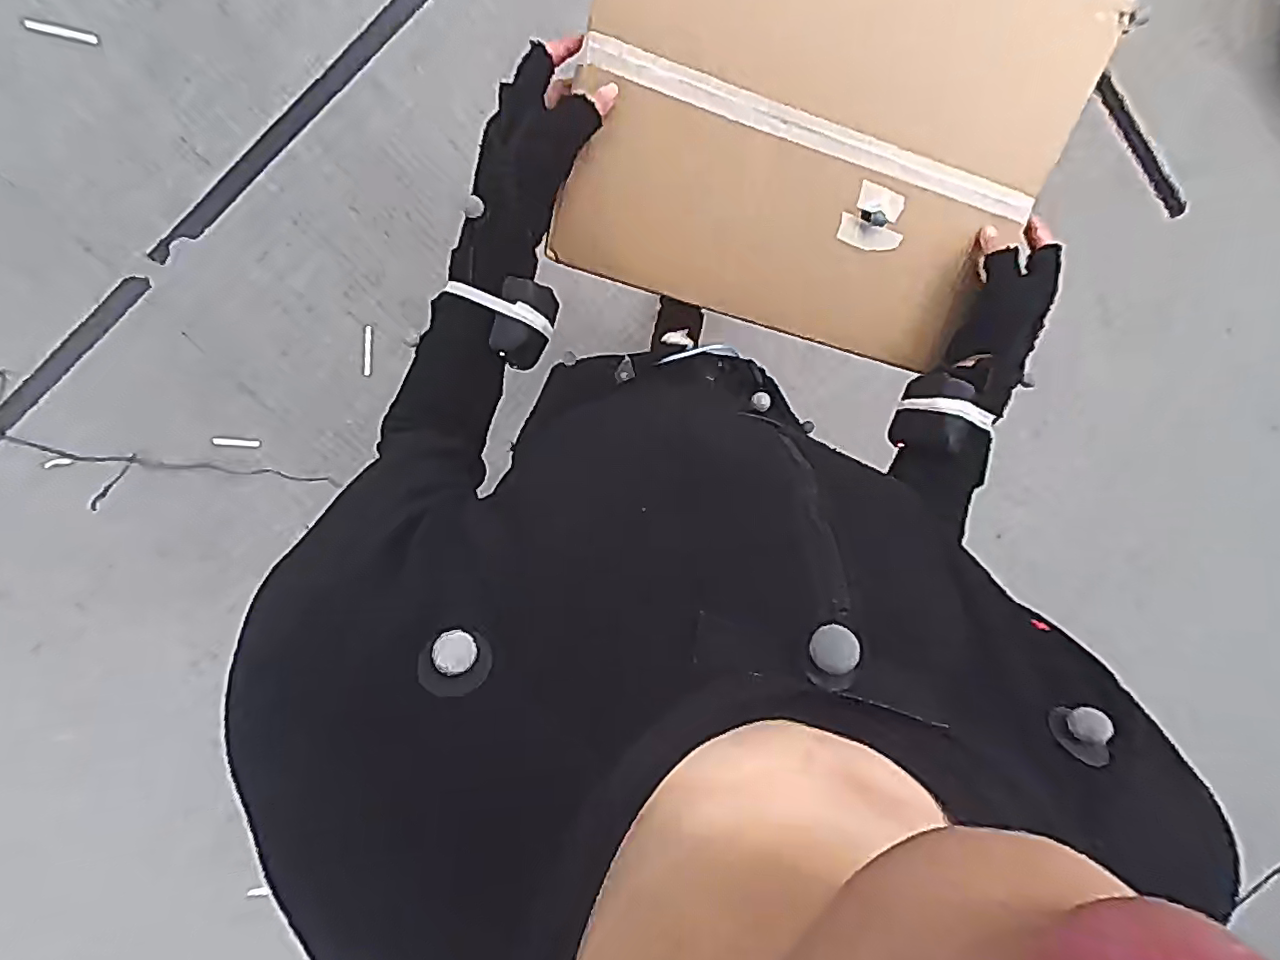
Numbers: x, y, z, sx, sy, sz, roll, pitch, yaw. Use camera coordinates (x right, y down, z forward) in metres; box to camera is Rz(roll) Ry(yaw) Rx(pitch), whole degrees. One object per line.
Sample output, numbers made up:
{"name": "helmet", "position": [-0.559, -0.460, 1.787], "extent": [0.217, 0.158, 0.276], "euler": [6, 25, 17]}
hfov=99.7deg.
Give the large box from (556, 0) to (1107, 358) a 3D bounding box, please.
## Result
{"name": "large box", "position": [0.139, -0.362, 0.596], "extent": [0.408, 0.320, 0.320], "euler": [13, 114, -11]}
